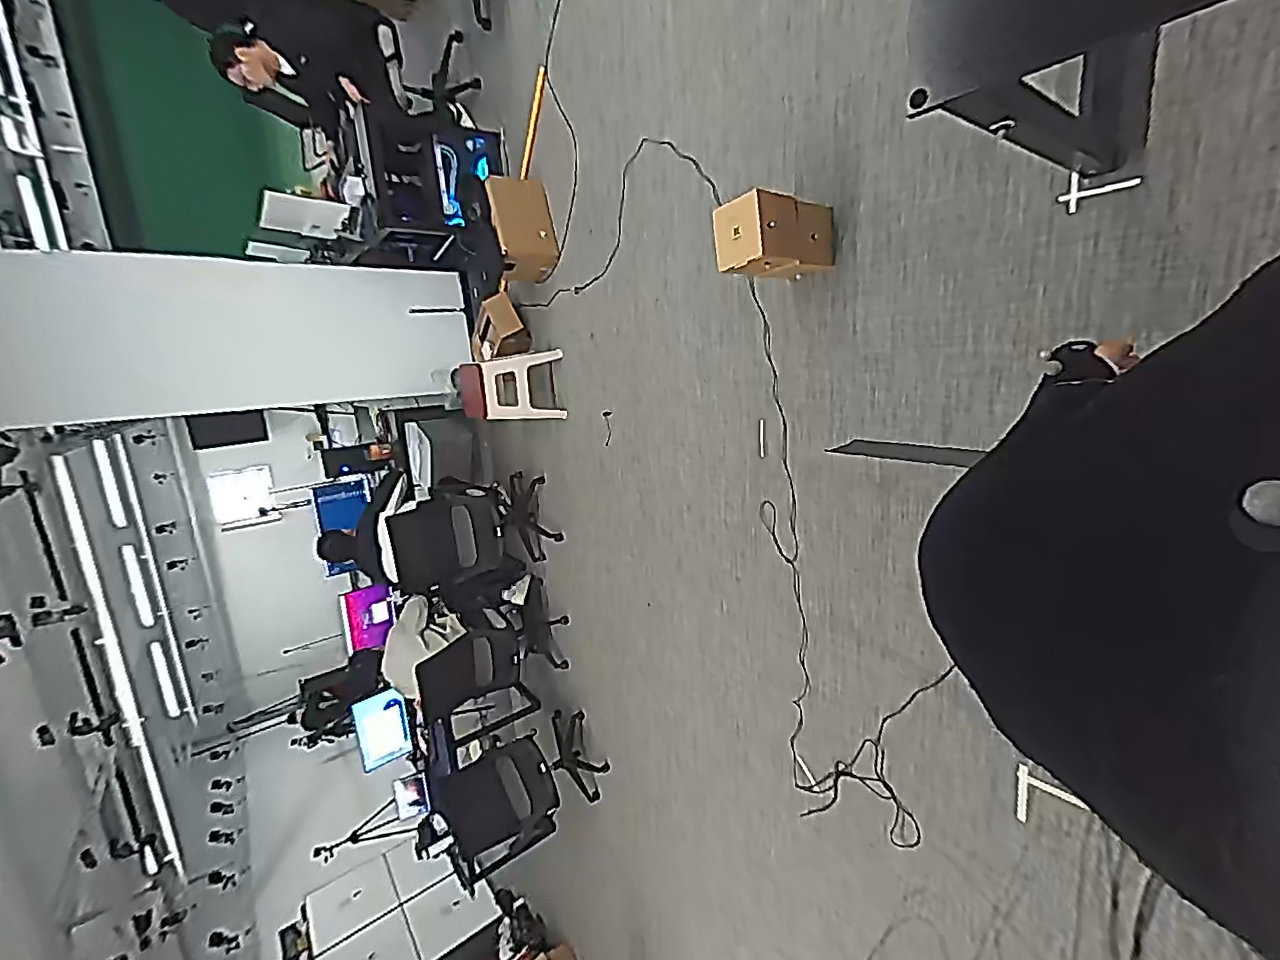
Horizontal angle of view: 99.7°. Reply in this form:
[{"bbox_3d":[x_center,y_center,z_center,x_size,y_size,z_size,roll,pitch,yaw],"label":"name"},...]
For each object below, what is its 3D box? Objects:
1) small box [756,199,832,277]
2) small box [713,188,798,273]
[{"bbox_3d":[0.462,-0.721,1.631,0.168,0.176,0.179,7,107,53],"label":"small box"},{"bbox_3d":[0.332,-0.698,1.536,0.168,0.176,0.179,2,101,52],"label":"small box"}]
